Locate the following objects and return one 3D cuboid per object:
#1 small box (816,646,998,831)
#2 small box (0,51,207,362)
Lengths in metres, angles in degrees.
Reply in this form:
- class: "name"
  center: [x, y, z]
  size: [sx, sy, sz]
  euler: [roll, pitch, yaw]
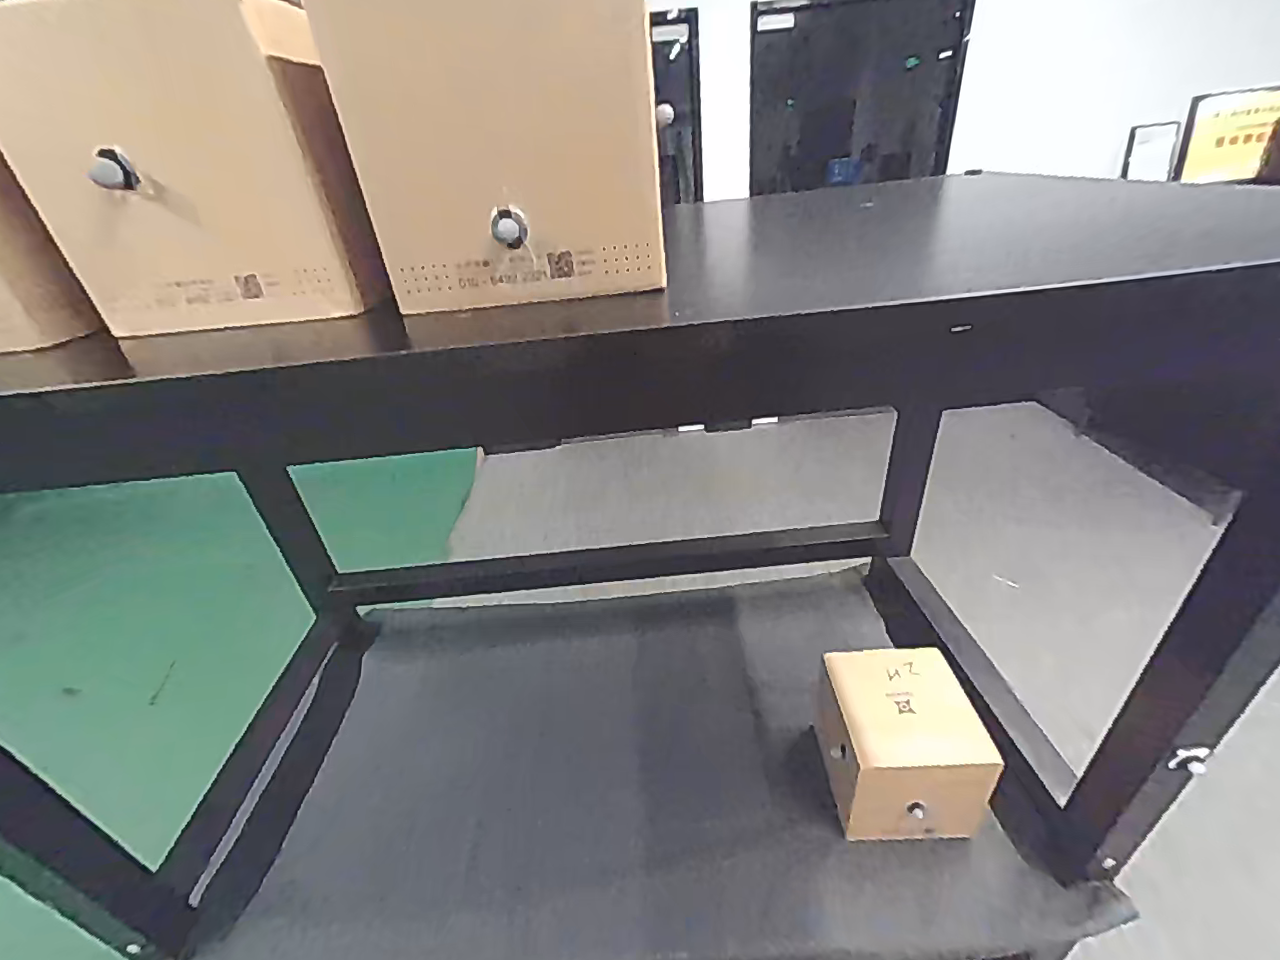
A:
- class: "small box"
  center: [0.350, 0.357, 0.747]
  size: [0.168, 0.176, 0.179]
  euler: [-3, 31, 4]
- class: "small box"
  center: [-0.461, -0.188, 0.382]
  size: [0.168, 0.176, 0.179]
  euler: [-5, 32, 2]
